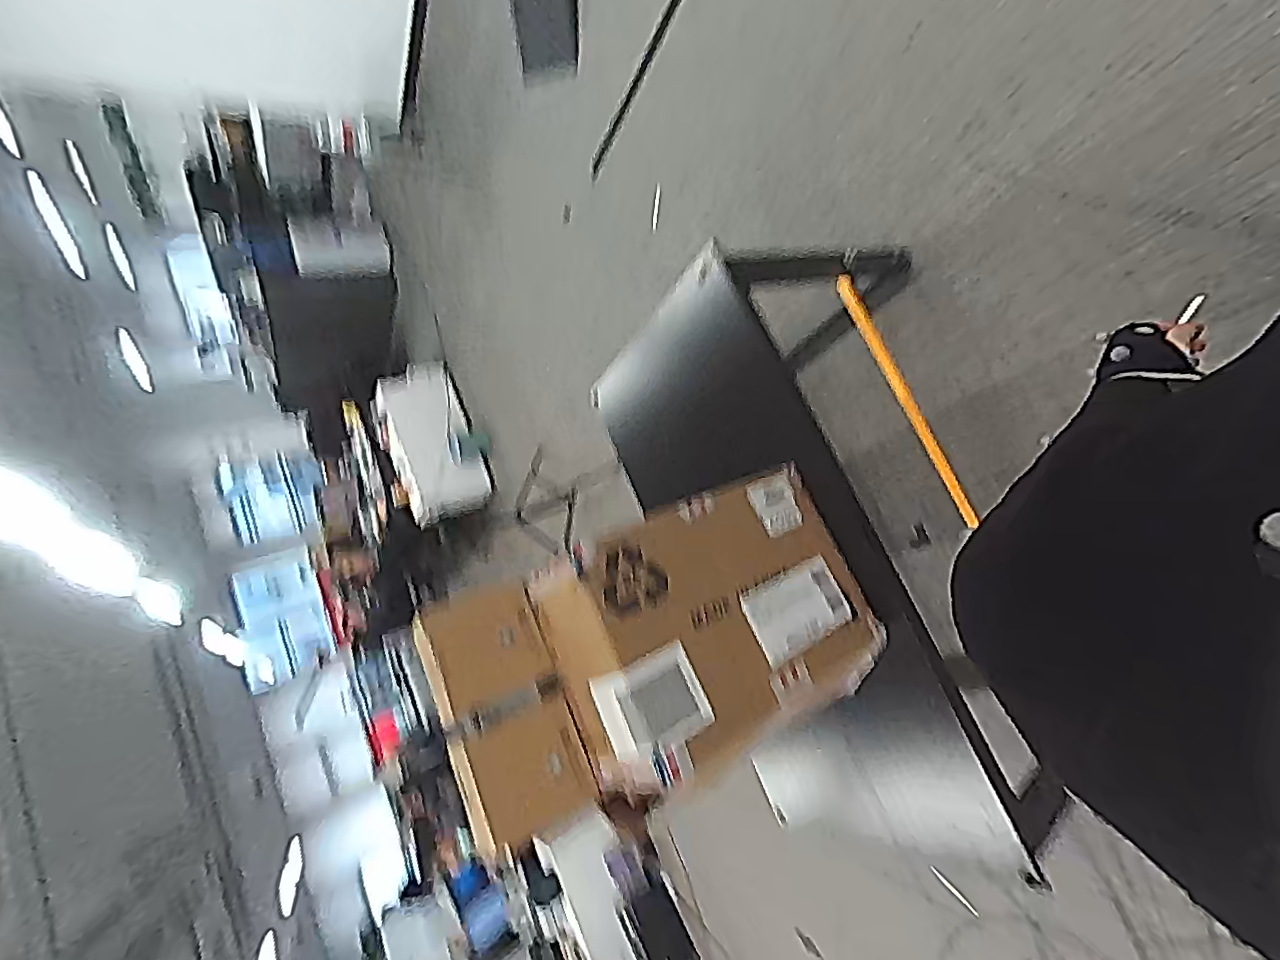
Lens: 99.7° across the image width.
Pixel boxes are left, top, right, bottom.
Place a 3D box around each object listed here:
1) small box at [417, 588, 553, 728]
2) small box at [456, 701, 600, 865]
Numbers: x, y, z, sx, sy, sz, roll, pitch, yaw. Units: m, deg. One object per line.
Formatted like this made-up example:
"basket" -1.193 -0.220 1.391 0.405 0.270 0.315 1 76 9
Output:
"small box" -0.266 0.303 0.922 0.168 0.176 0.179 64 147 13
"small box" -0.184 0.479 0.876 0.168 0.176 0.179 65 148 16
